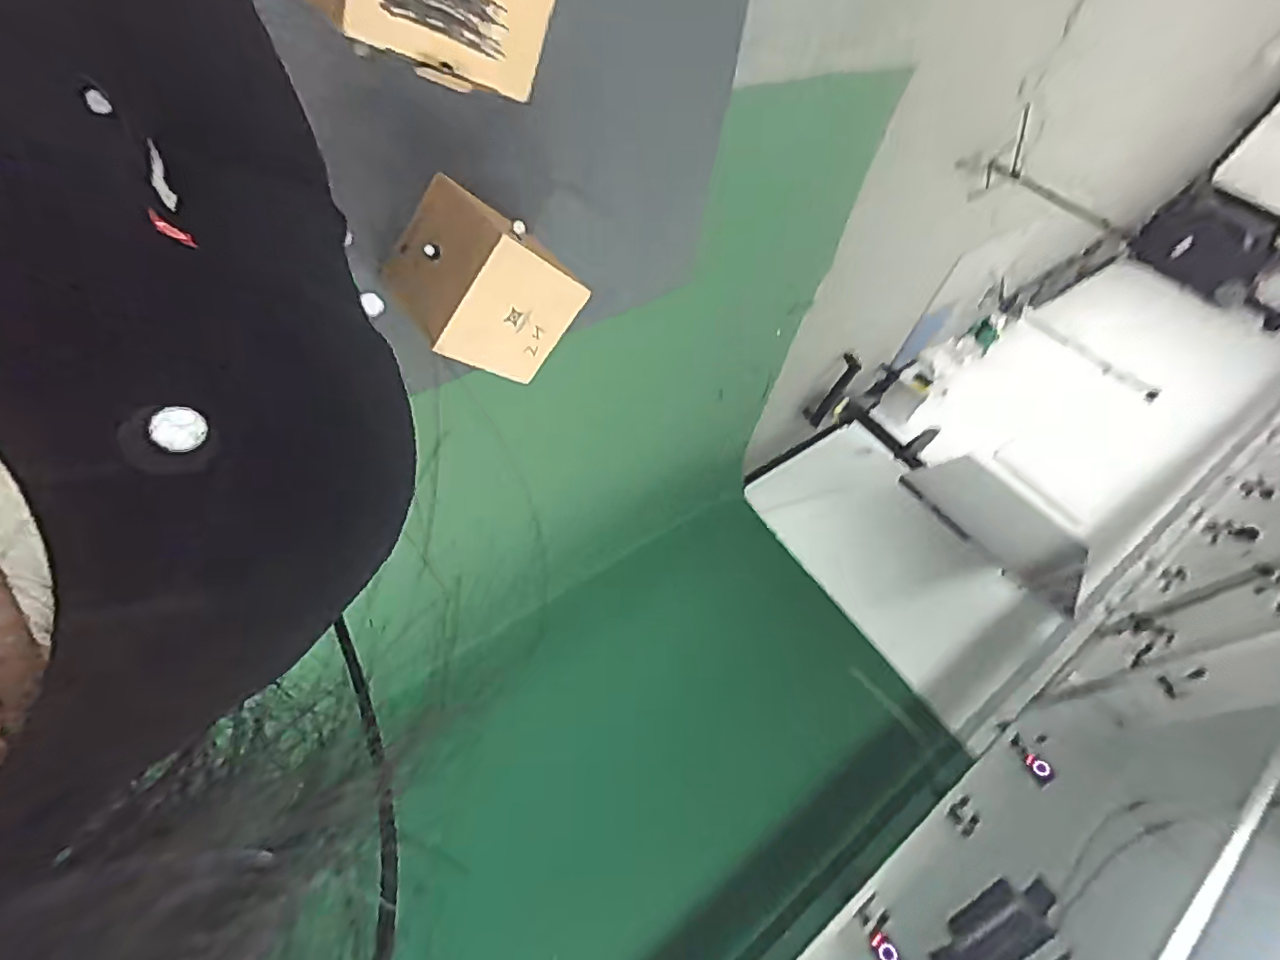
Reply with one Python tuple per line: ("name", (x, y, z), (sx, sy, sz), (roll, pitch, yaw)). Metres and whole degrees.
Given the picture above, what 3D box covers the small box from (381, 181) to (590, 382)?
("small box", (-0.209, -0.263, 0.725), (0.168, 0.176, 0.179), (-49, 154, 16))
